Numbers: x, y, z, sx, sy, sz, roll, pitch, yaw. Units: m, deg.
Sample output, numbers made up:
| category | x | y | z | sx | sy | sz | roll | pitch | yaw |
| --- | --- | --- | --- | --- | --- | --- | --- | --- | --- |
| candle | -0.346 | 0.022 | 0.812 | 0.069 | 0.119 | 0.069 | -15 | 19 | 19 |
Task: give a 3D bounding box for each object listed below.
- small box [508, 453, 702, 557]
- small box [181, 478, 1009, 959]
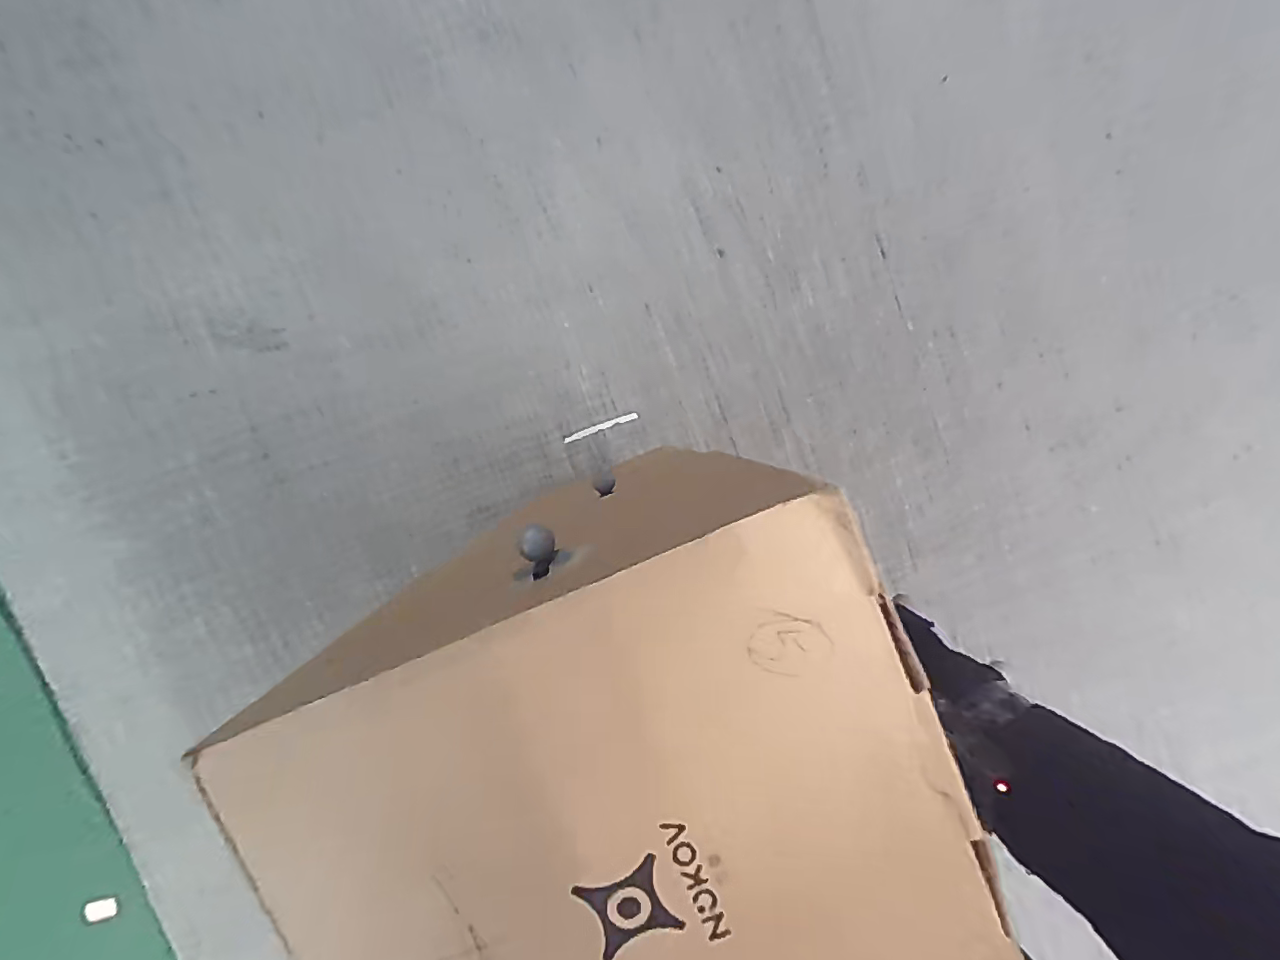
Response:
| category | x | y | z | sx | sy | sz | roll | pitch | yaw |
| --- | --- | --- | --- | --- | --- | --- | --- | --- | --- |
| small box | -0.007 | 0.081 | 0.541 | 0.179 | 0.176 | 0.168 | -25 | 97 | 0 |
| small box | -0.003 | 0.109 | 0.216 | 0.179 | 0.176 | 0.168 | -24 | 96 | 2 |
